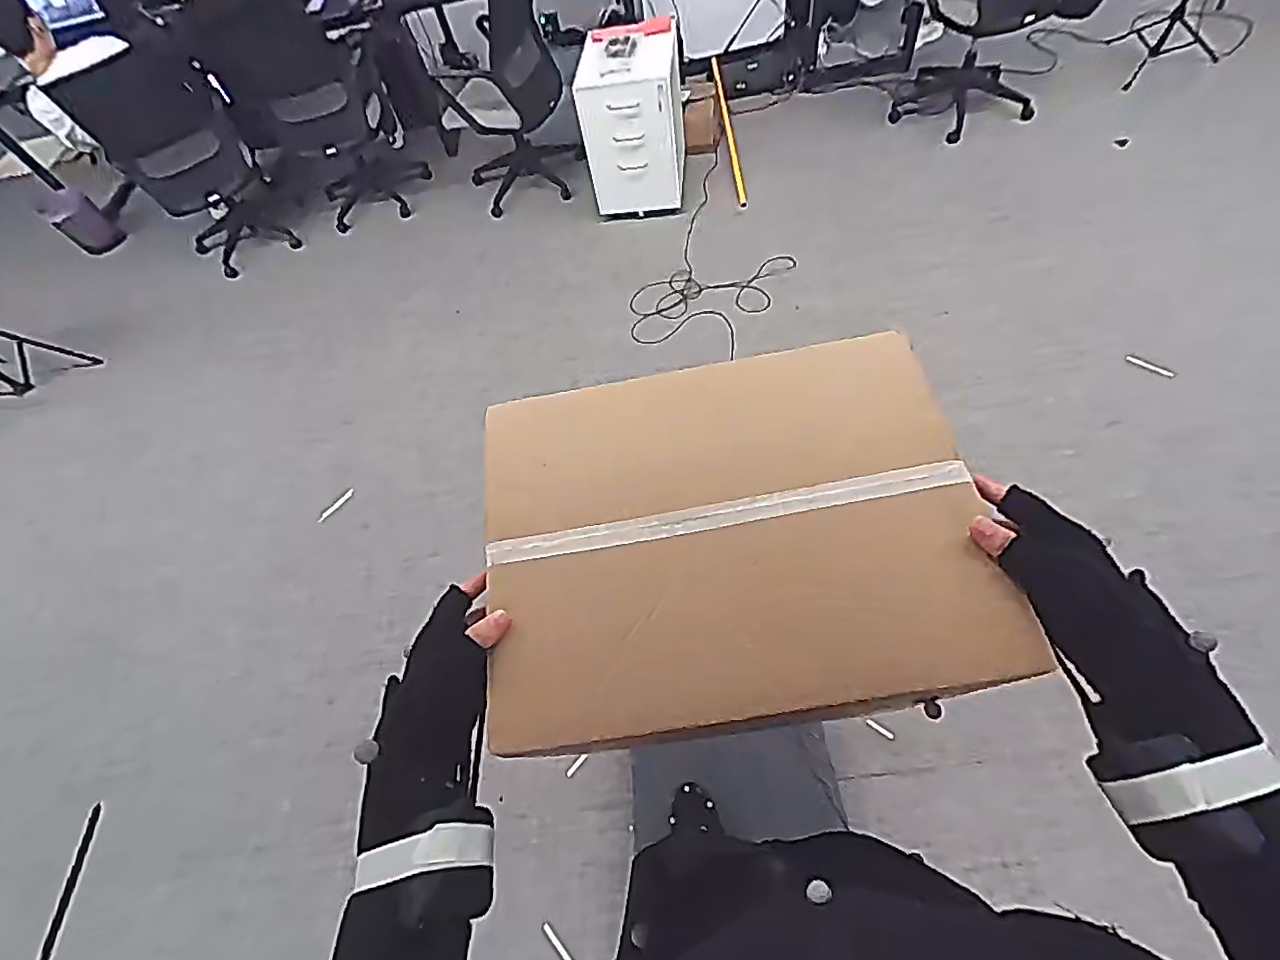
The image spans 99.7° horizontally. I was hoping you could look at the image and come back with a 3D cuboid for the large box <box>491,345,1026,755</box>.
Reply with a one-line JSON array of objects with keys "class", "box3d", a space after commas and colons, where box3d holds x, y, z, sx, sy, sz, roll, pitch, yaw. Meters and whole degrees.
[{"class": "large box", "box3d": [0.085, 0.101, 0.597, 0.408, 0.320, 0.320, -10, 62, 2]}]
